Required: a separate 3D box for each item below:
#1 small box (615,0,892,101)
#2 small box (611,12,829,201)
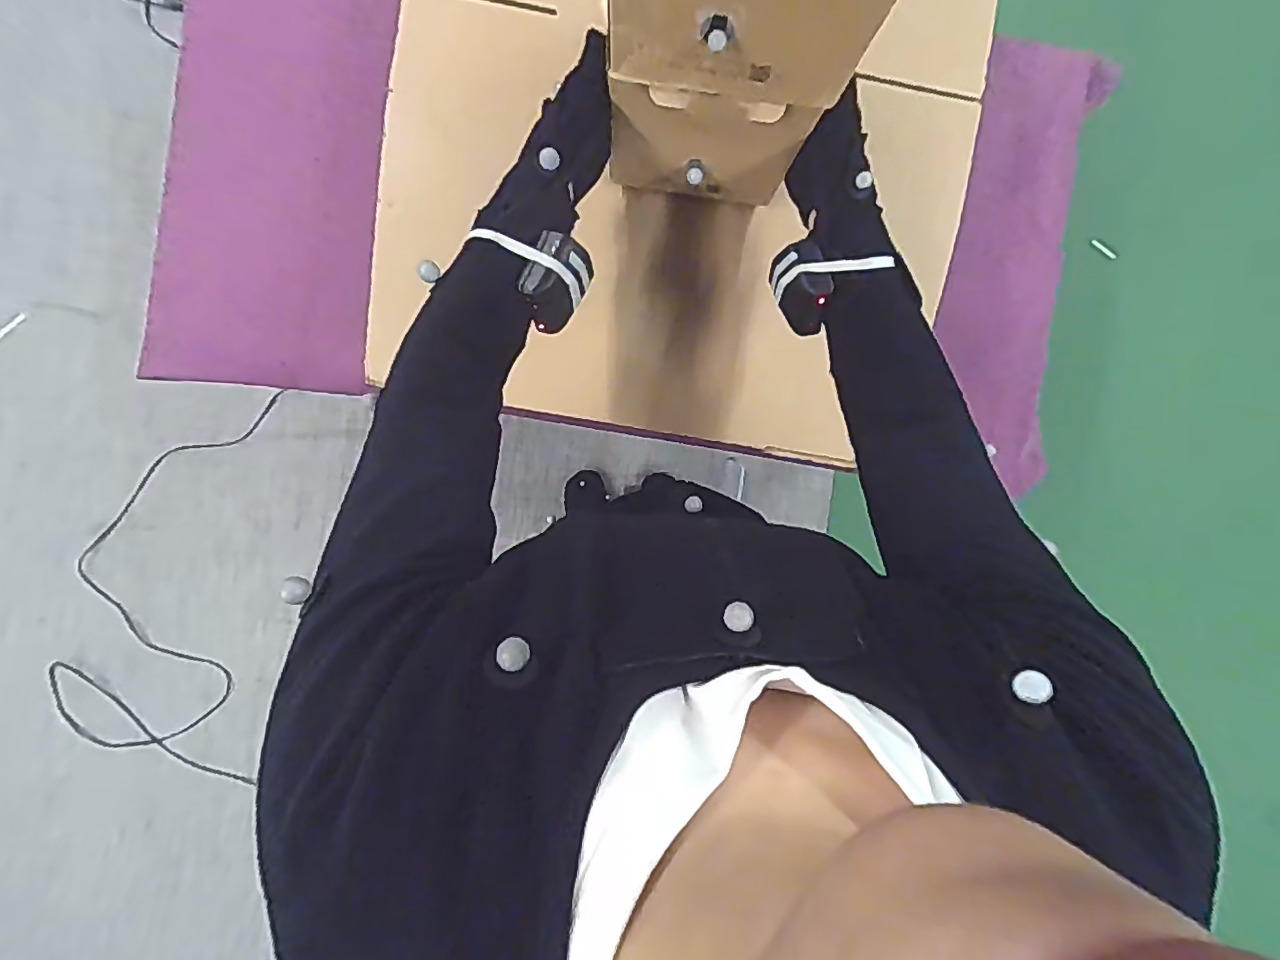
[{"bbox_3d":[0.073,-0.365,0.306,0.168,0.176,0.179,5,93,-3],"label":"small box"},{"bbox_3d":[0.067,-0.379,0.468,0.168,0.176,0.179,8,92,-2],"label":"small box"}]
